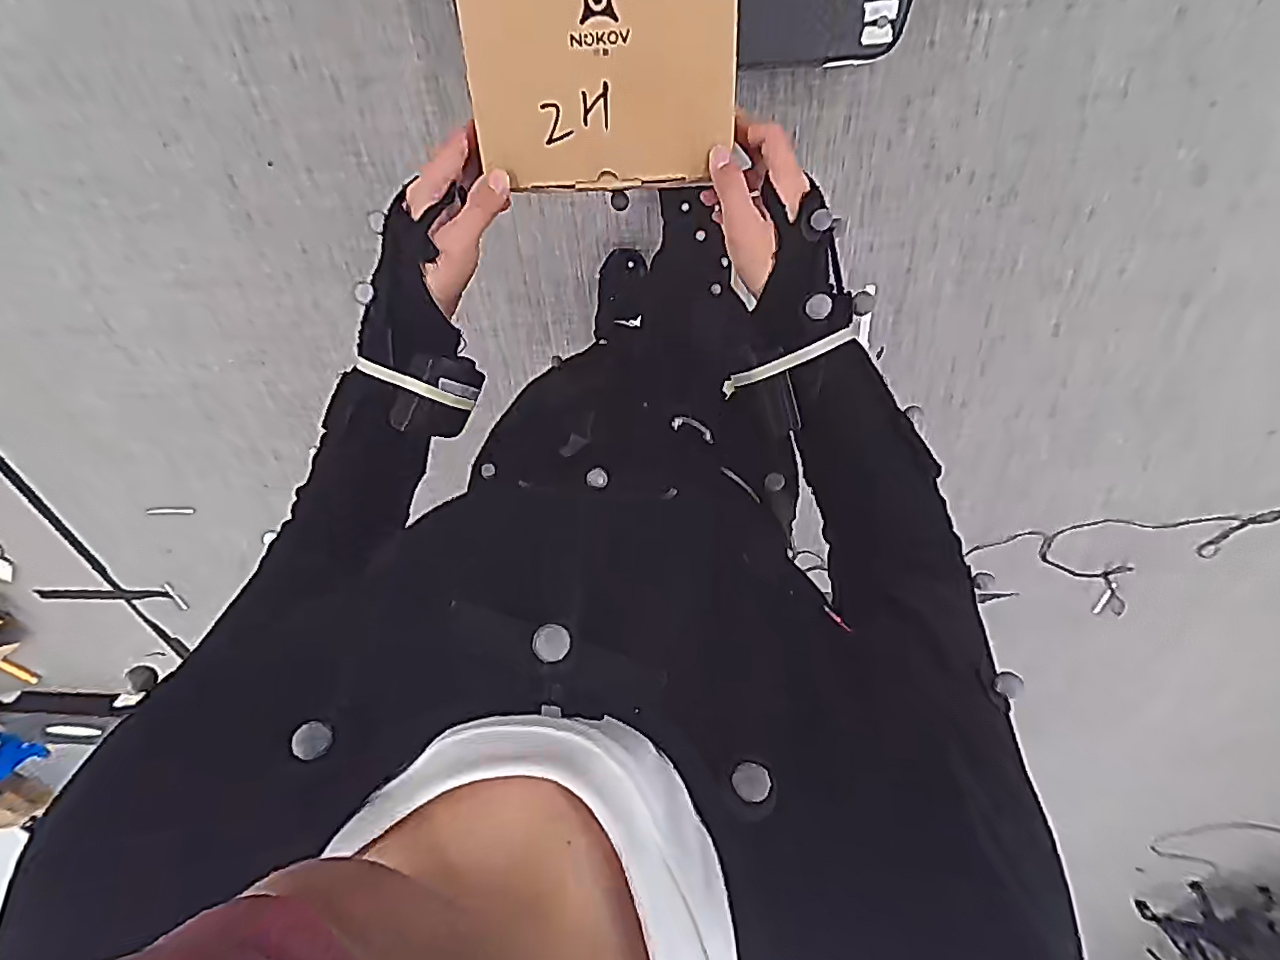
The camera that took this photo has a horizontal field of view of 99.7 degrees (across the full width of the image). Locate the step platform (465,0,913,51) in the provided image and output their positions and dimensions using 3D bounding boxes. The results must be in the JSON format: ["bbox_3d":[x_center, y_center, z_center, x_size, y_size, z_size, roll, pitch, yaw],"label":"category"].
[{"bbox_3d":[0.069,-0.802,0.801,0.684,0.204,0.286,-1,126,5],"label":"step platform"}]

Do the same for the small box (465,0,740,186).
[{"bbox_3d":[-0.020,-0.318,0.392,0.168,0.176,0.179,-1,118,4],"label":"small box"}]

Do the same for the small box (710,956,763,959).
[{"bbox_3d":[0.308,1.599,1.669,0.179,0.176,0.168,-1,127,4],"label":"small box"}]
